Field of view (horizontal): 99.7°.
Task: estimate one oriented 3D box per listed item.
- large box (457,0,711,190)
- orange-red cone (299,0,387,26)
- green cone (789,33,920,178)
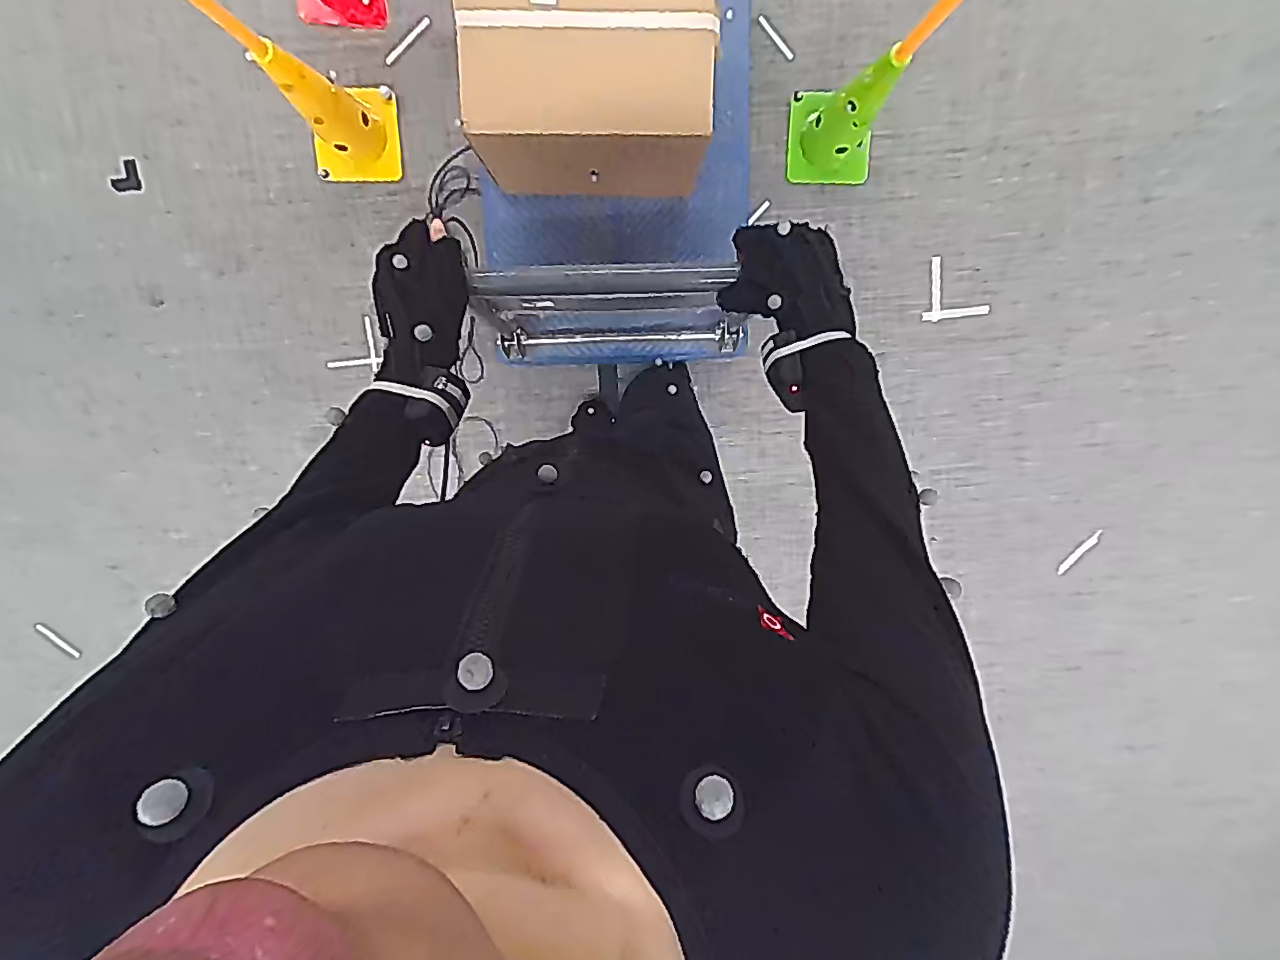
[{"bbox_3d":[-0.086,-0.744,0.991,0.408,0.320,0.320,0,101,-1],"label":"large box"},{"bbox_3d":[-0.666,-1.115,1.053,0.198,0.360,0.199,3,100,-3],"label":"orange-red cone"},{"bbox_3d":[0.469,-0.805,1.137,0.202,0.368,0.200,-1,102,-2],"label":"green cone"}]
